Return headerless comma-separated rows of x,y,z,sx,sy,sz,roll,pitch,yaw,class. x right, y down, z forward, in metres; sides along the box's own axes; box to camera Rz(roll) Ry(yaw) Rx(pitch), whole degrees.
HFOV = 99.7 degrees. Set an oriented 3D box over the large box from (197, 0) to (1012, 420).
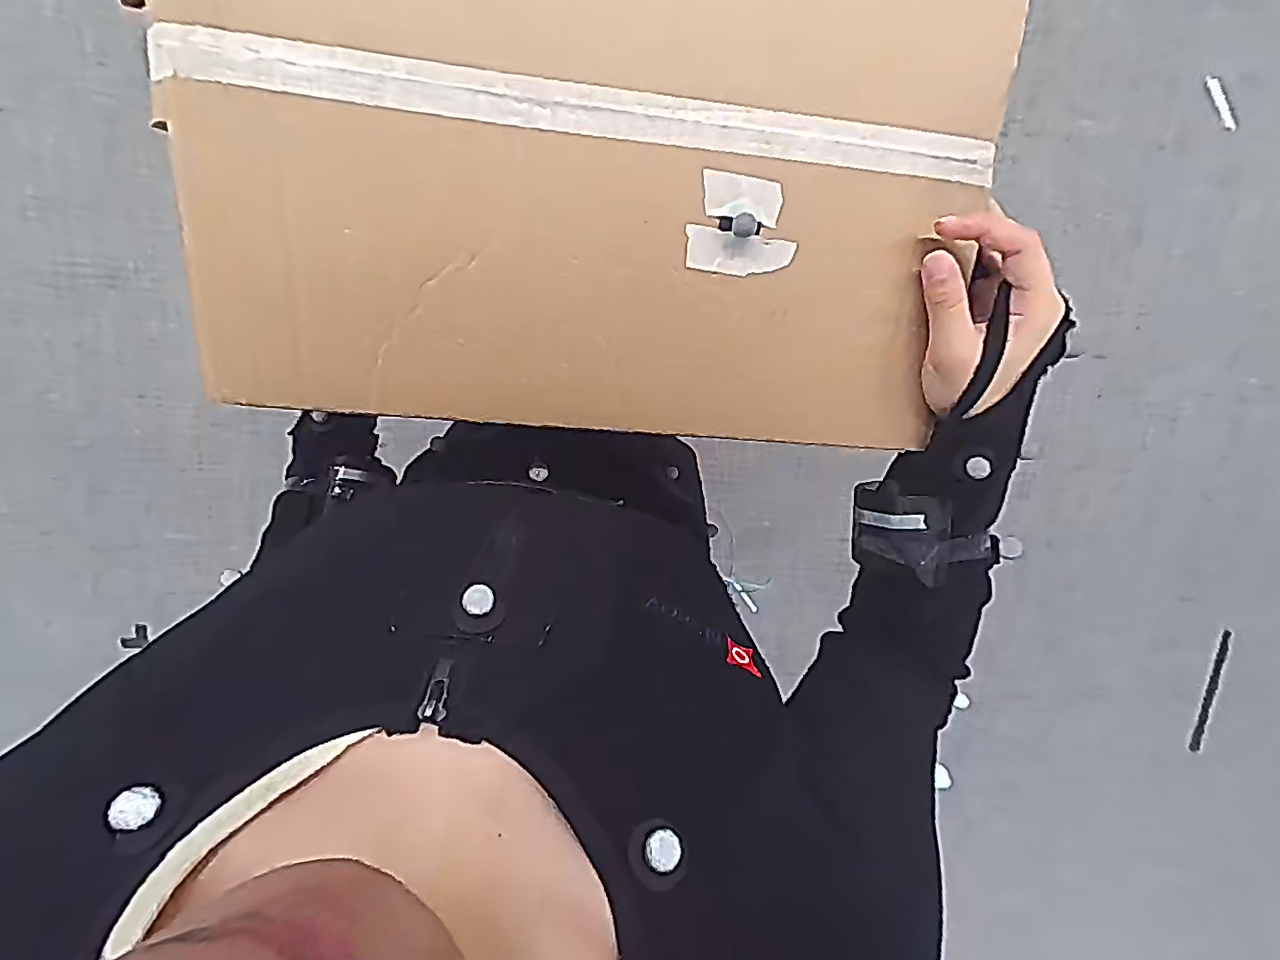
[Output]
-0.027,-0.230,0.417,0.408,0.320,0.320,3,105,-9,large box
